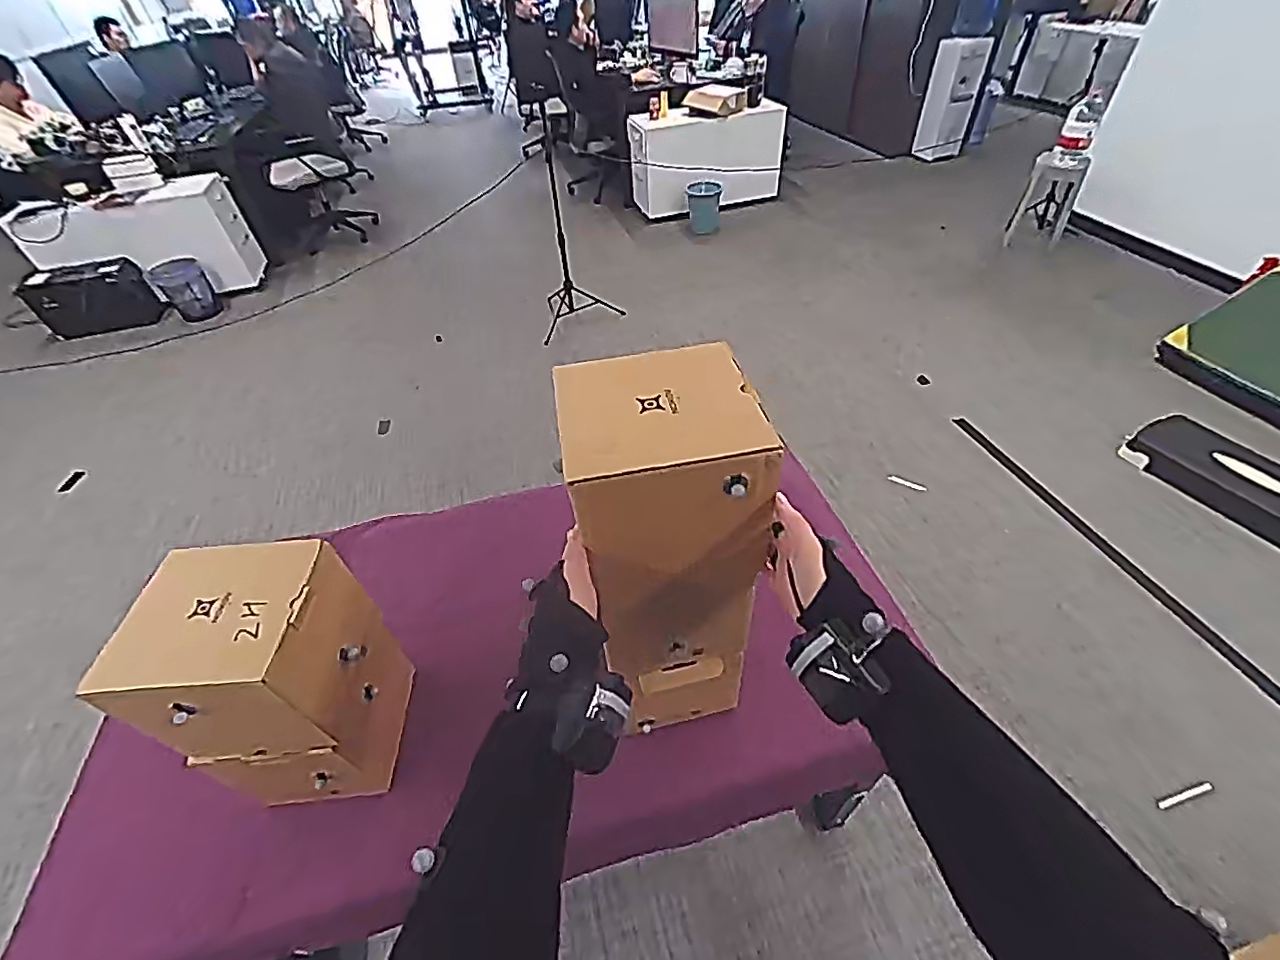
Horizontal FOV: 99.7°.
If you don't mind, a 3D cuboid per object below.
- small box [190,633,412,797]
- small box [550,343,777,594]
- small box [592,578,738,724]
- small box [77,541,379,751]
[{"bbox_3d":[-0.424,0.304,0.718,0.168,0.176,0.179,-5,45,-1],"label":"small box"},{"bbox_3d":[0.017,-0.009,0.528,0.179,0.176,0.168,-9,45,-5],"label":"small box"},{"bbox_3d":[0.031,0.221,0.760,0.168,0.176,0.179,-11,45,-6],"label":"small box"},{"bbox_3d":[-0.428,0.188,0.603,0.179,0.176,0.168,-4,46,-1],"label":"small box"}]
